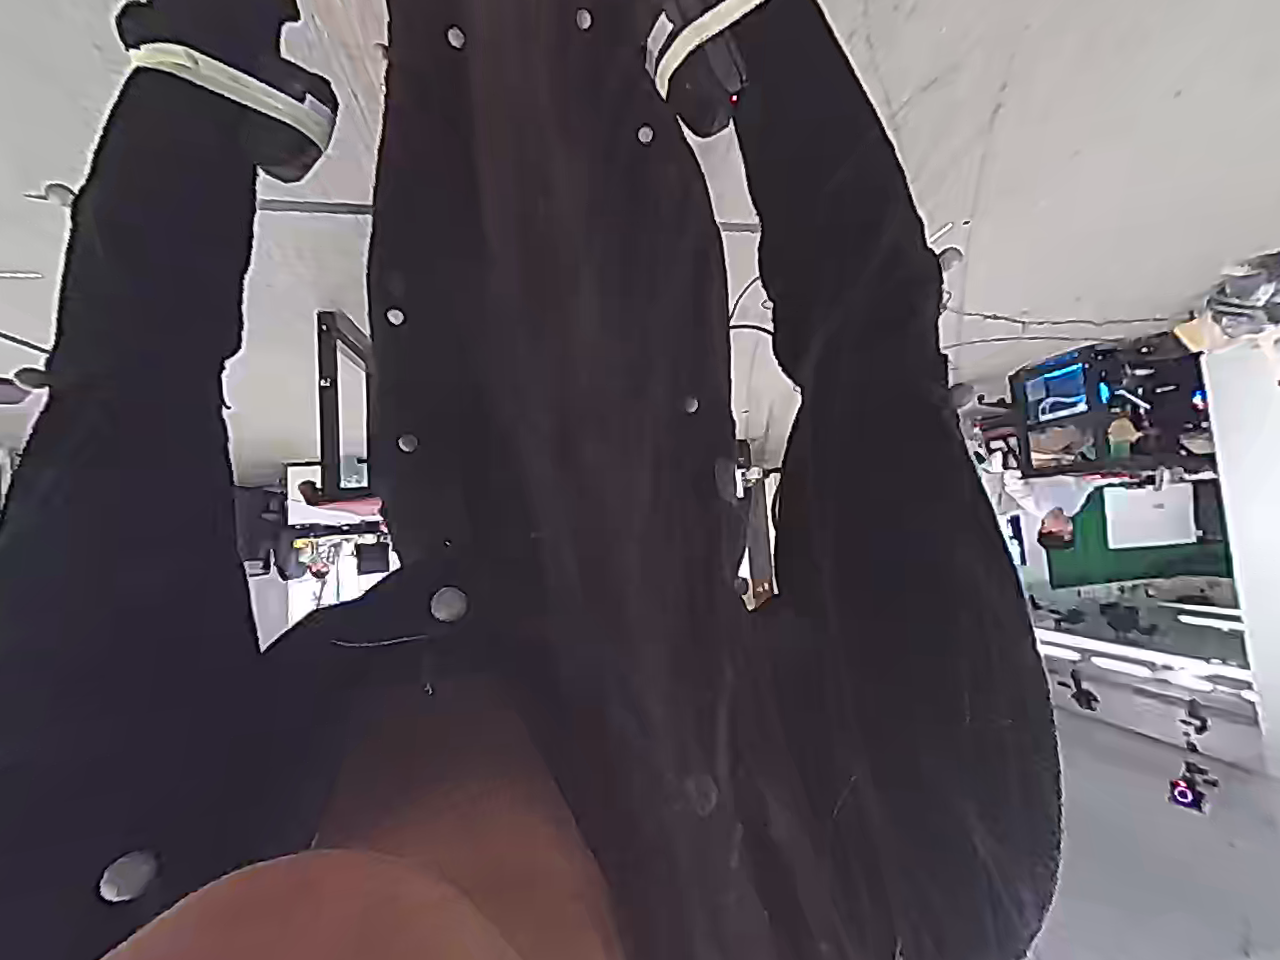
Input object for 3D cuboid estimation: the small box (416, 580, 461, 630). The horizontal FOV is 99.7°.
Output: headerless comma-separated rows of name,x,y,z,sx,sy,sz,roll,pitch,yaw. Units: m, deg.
small box,-0.826,0.509,2.223,0.168,0.176,0.179,-1,176,-18
